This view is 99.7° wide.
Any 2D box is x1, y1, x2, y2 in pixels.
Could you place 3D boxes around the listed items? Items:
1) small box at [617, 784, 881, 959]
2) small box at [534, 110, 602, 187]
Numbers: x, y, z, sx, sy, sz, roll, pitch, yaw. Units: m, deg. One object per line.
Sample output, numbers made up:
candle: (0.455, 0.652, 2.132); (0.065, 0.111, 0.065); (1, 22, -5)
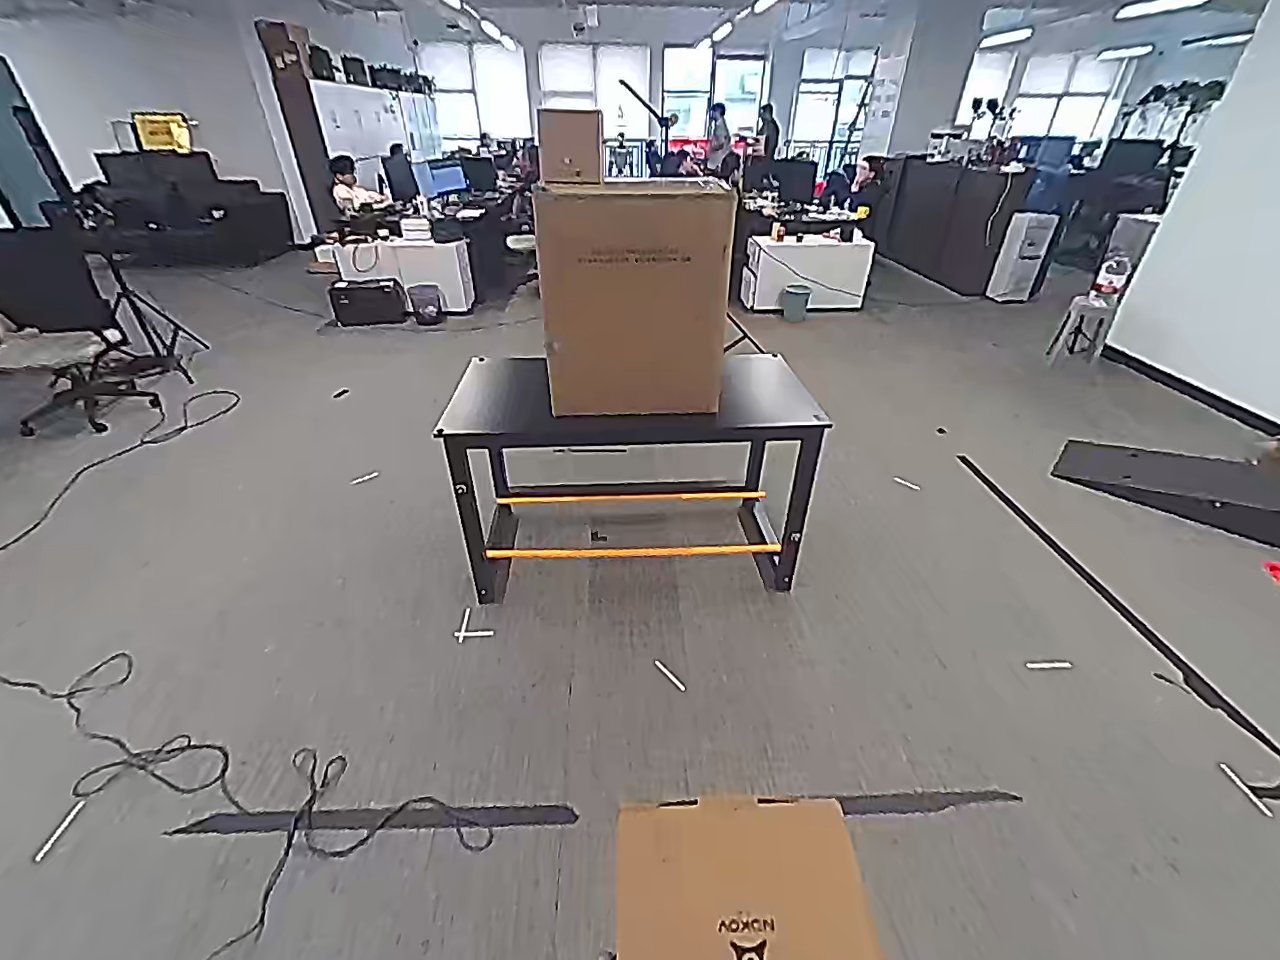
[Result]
small box: (0.066, 0.349, 0.396); (0.168, 0.176, 0.179); (-1, 41, -1)
small box: (-0.194, -0.920, 1.501); (0.168, 0.176, 0.179); (0, 33, 0)
